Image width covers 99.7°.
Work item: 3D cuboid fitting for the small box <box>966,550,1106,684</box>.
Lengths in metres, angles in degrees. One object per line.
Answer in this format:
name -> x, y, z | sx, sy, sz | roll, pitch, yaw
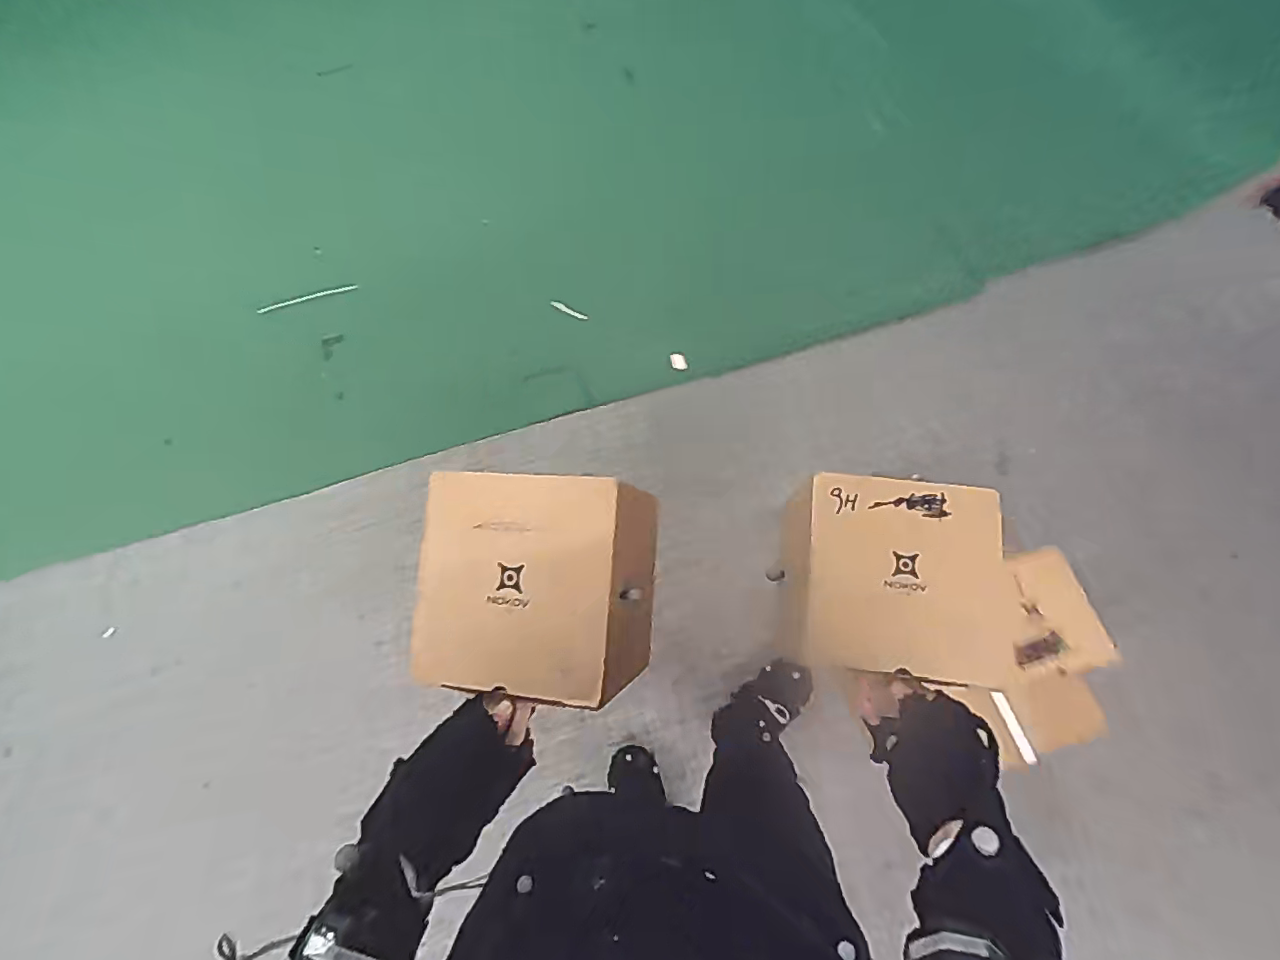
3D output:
small box -> 0.596, 0.230, 0.894 | 0.168, 0.176, 0.179 | -12, 70, 3
